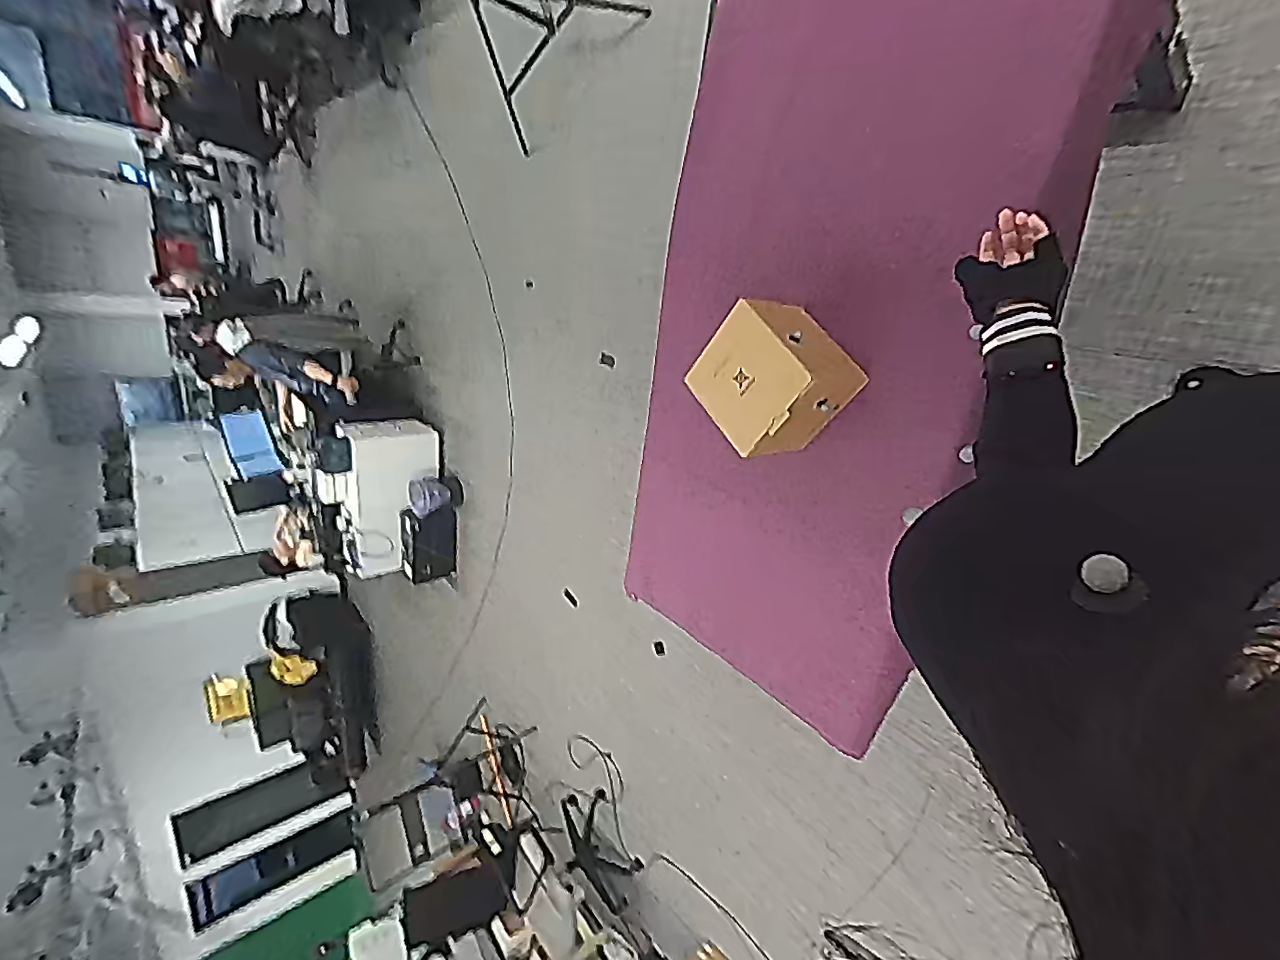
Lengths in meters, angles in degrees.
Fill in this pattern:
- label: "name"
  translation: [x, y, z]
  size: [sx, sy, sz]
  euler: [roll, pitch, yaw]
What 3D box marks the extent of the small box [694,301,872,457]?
- label: "small box"
  translation: [0.226, -0.160, 0.858]
  size: [0.179, 0.176, 0.168]
  euler: [58, 135, 25]
